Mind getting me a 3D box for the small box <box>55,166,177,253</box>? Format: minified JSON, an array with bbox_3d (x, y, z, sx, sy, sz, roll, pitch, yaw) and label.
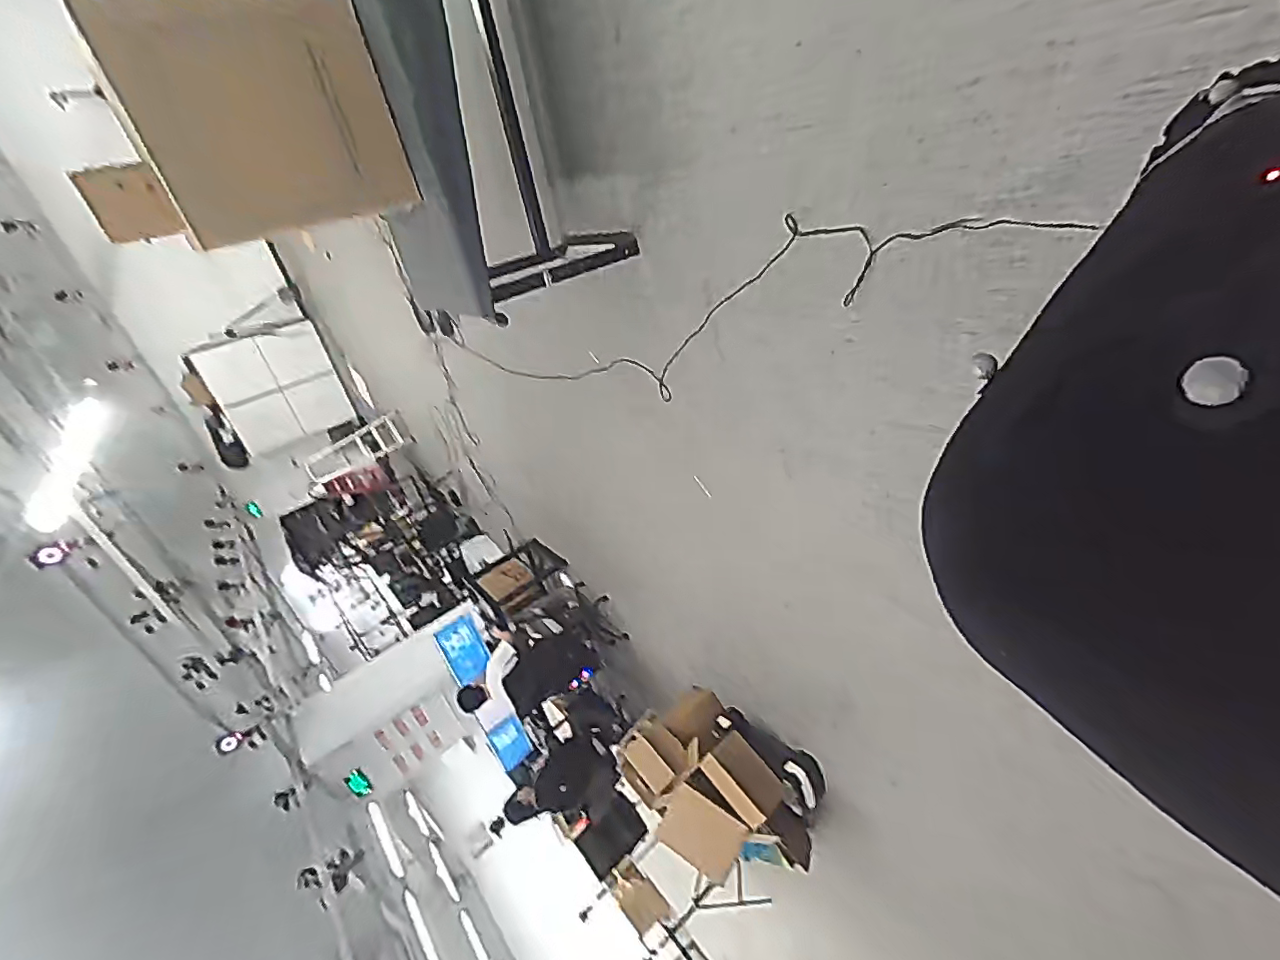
[{"bbox_3d":[-1.330,-0.691,1.386,0.179,0.176,0.168,21,132,46],"label":"small box"}]
